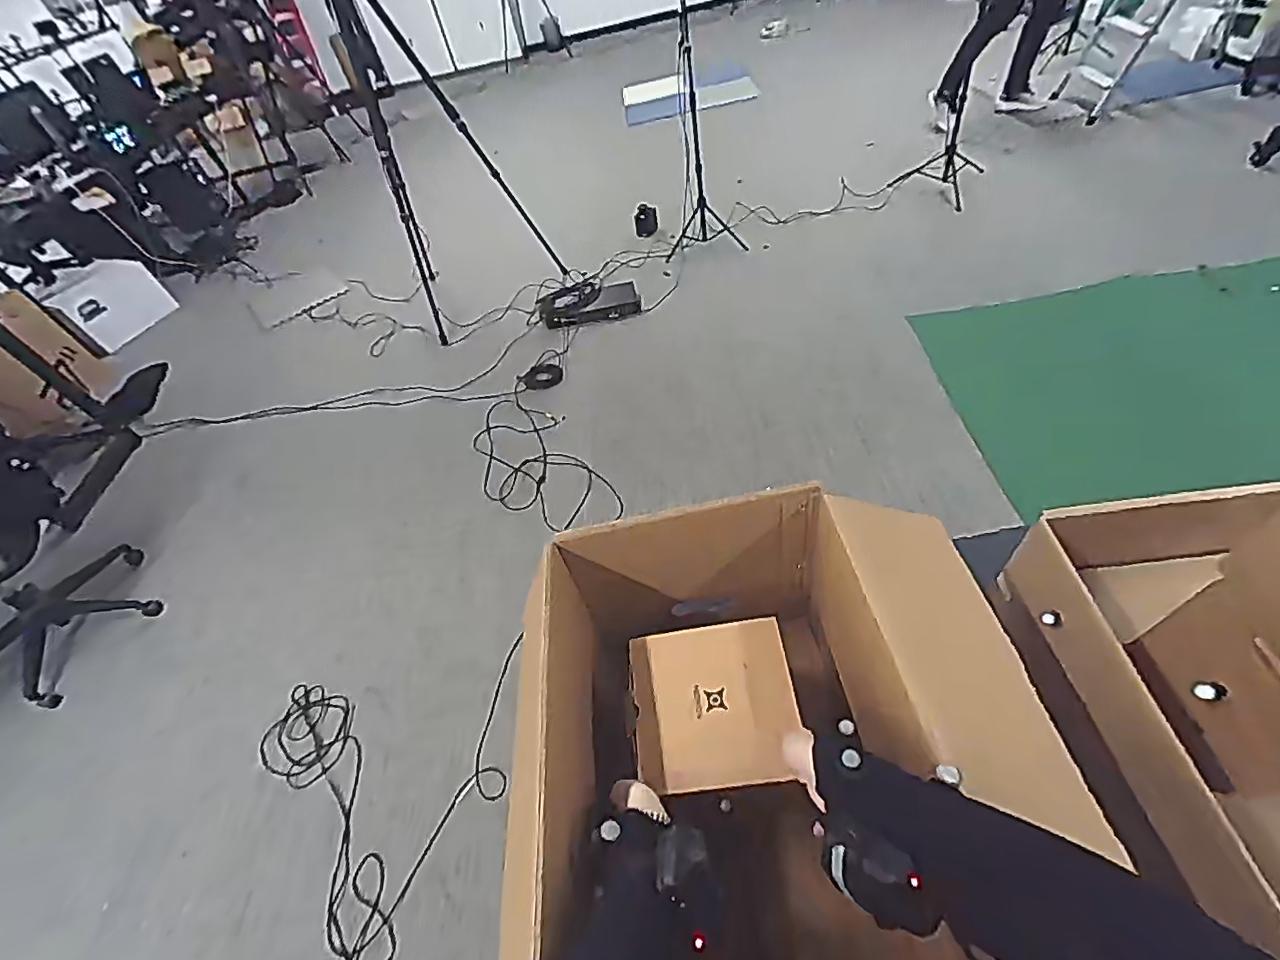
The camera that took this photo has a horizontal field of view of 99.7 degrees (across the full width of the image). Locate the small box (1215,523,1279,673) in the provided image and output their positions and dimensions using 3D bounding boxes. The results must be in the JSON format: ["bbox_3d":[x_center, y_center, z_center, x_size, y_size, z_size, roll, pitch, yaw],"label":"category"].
[{"bbox_3d":[0.634,0.100,0.421,0.168,0.176,0.179,-6,52,7],"label":"small box"}]
